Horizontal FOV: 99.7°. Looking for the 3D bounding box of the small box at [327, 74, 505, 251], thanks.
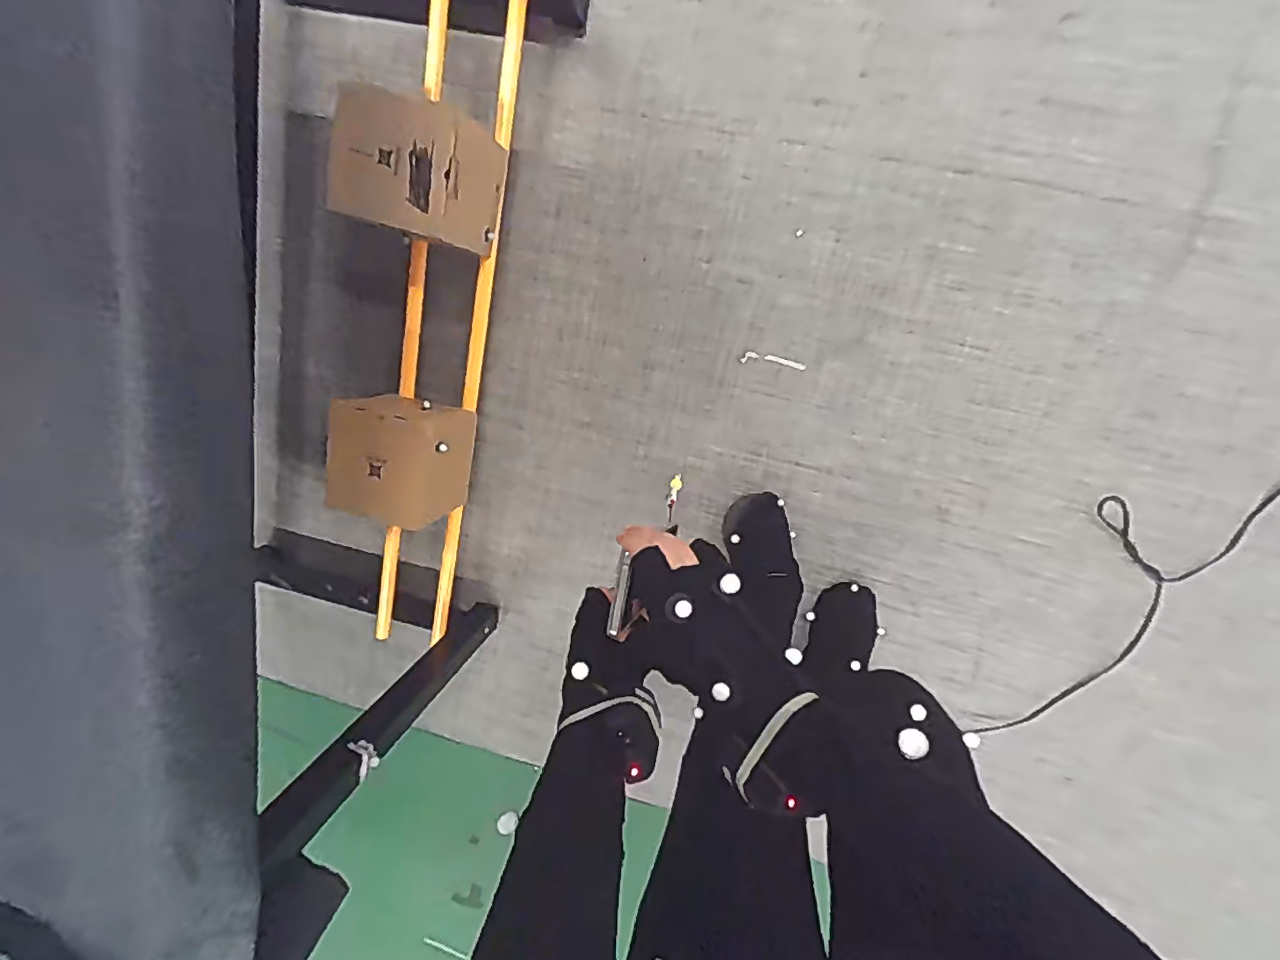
[{"bbox_3d":[-0.320,-0.451,0.798,0.179,0.176,0.168,17,105,6],"label":"small box"}]
